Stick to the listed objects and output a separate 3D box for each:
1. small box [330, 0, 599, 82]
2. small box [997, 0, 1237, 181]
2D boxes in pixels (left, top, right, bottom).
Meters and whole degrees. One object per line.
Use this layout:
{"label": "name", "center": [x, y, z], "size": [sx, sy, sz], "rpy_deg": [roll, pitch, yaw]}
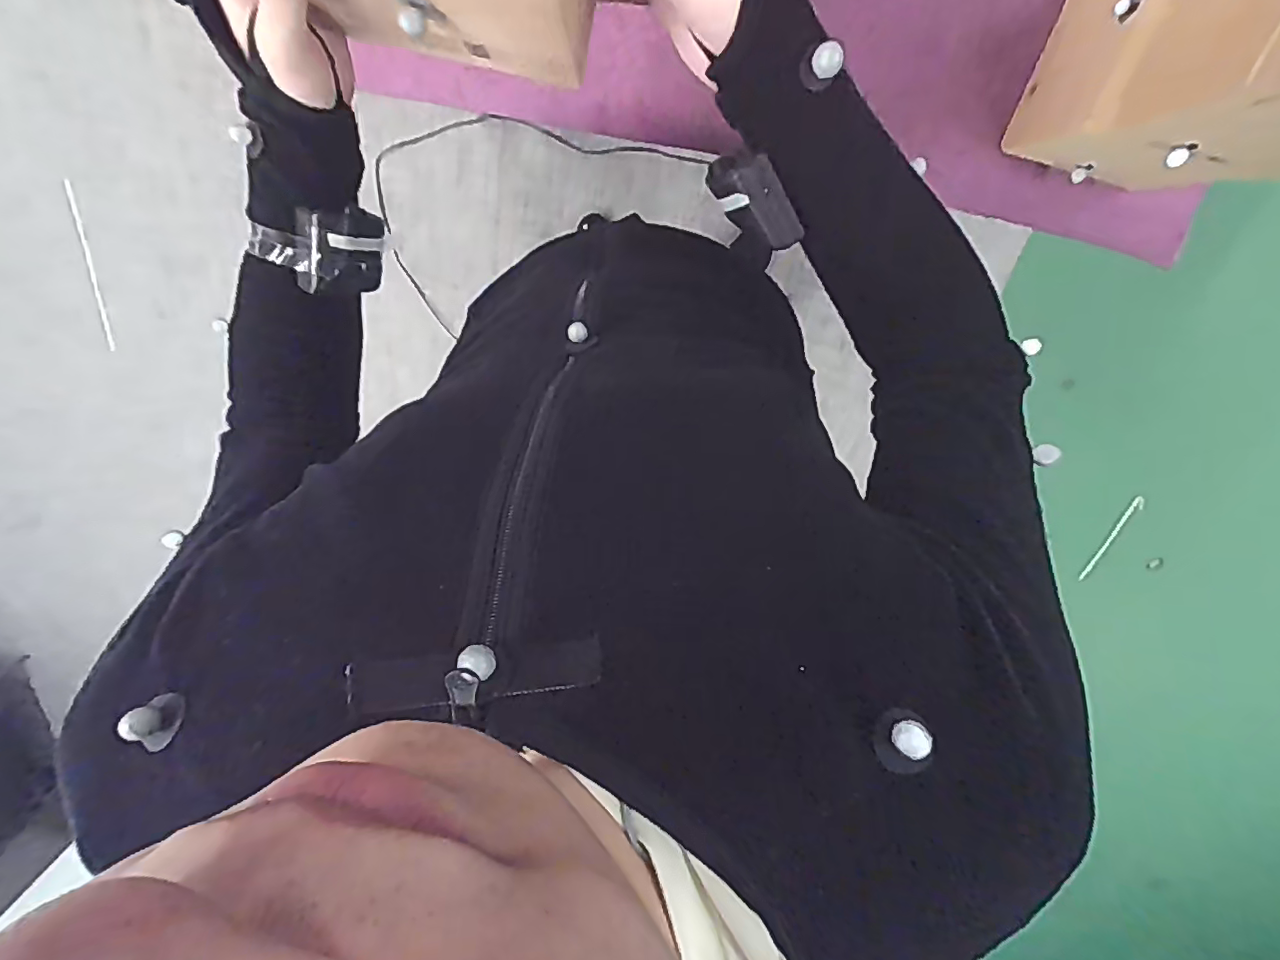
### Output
{"label": "small box", "center": [-0.096, -0.331, 0.243], "size": [0.168, 0.176, 0.179], "rpy_deg": [11, 103, -3]}
{"label": "small box", "center": [0.534, -0.427, 0.569], "size": [0.179, 0.176, 0.168], "rpy_deg": [15, 115, -2]}
